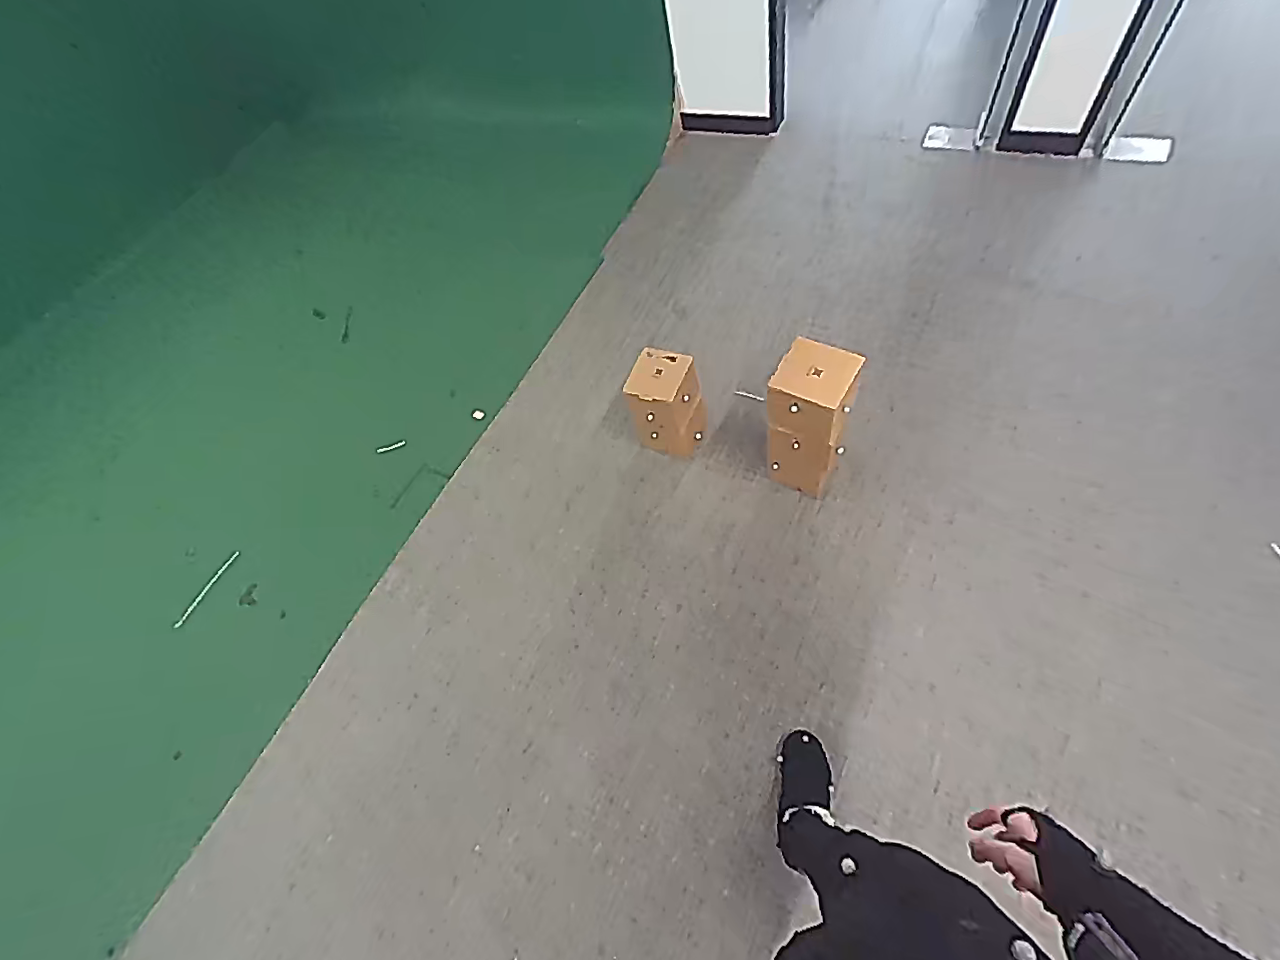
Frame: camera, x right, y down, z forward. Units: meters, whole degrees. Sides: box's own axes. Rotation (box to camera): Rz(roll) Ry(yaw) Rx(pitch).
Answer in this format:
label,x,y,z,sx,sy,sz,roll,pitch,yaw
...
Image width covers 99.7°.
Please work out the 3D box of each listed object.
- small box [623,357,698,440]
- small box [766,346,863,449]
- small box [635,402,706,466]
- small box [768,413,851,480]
label,x,y,z,sx,sy,sz,roll,pitch,yaw
small box,0.071,-0.248,1.676,0.168,0.176,0.179,16,67,22
small box,0.436,-0.201,1.367,0.179,0.176,0.168,26,71,25
small box,0.108,-0.168,1.813,0.179,0.176,0.168,20,68,22
small box,0.468,-0.123,1.504,0.179,0.176,0.168,21,69,23
